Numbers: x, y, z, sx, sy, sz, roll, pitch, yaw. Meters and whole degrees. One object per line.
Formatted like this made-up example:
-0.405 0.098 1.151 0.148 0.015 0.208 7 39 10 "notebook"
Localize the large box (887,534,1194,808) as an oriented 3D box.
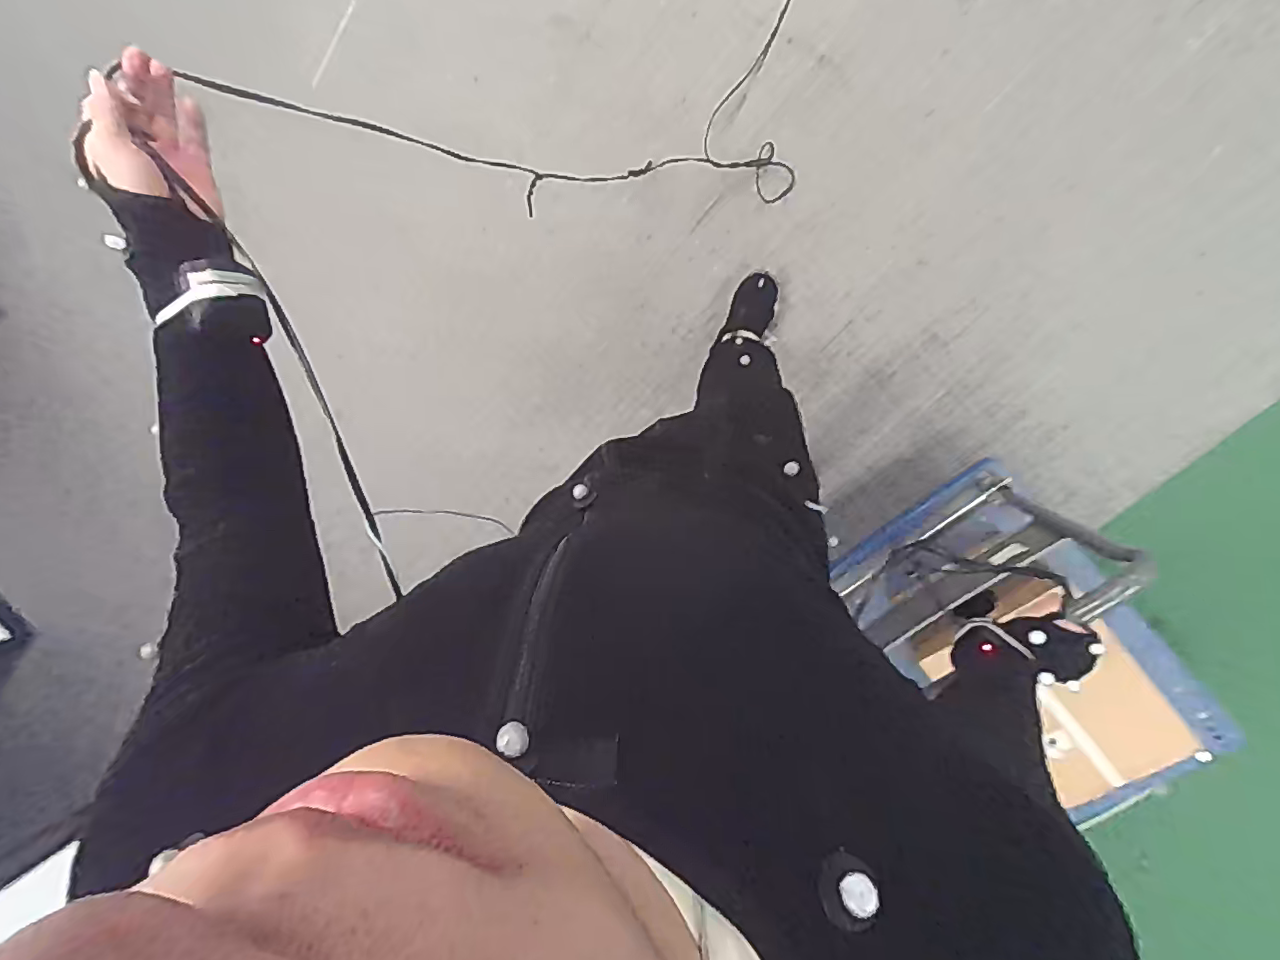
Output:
0.824 0.393 1.188 0.320 0.320 0.408 -39 90 18 "large box"
